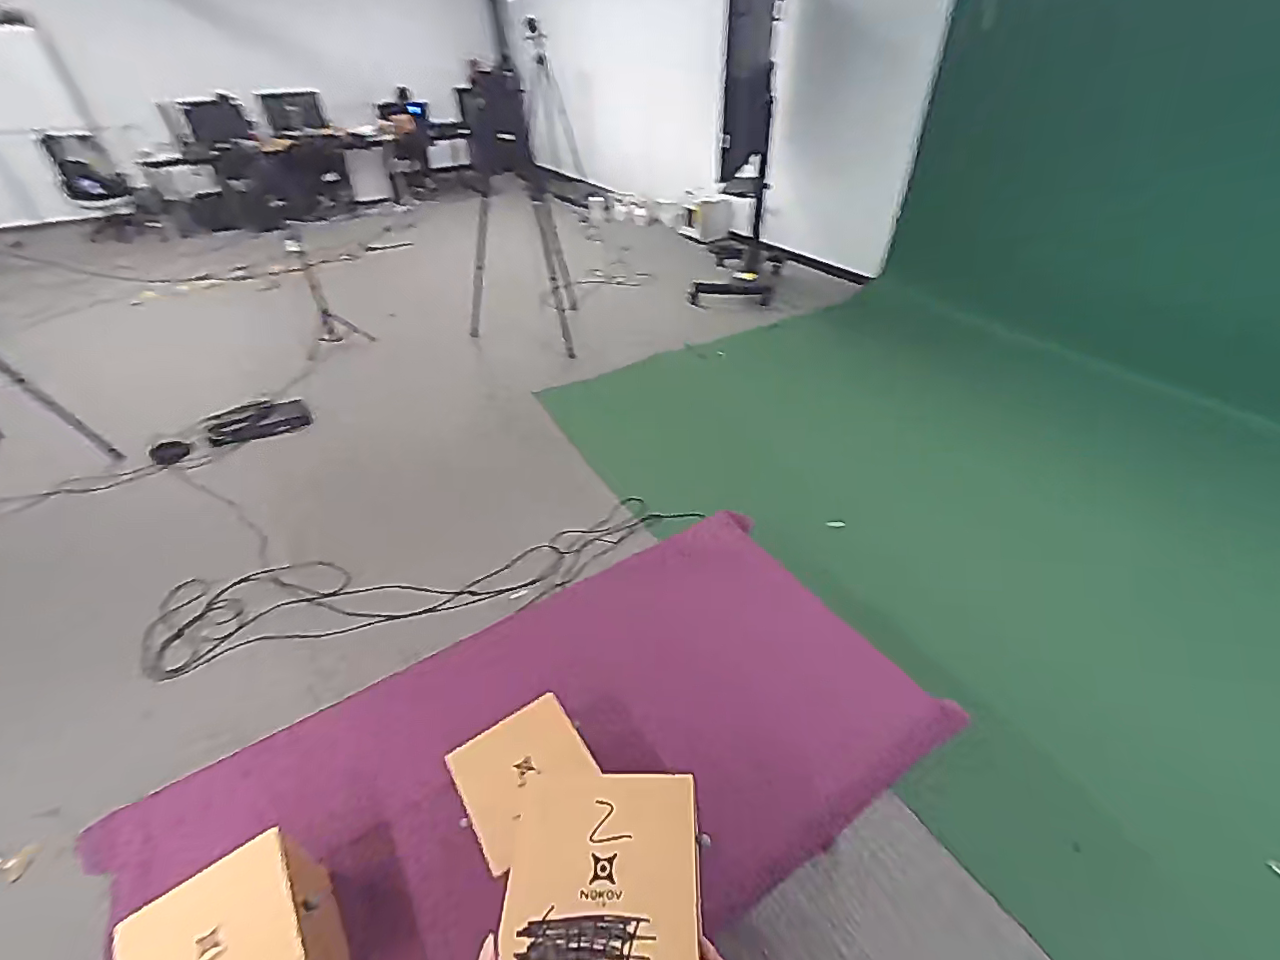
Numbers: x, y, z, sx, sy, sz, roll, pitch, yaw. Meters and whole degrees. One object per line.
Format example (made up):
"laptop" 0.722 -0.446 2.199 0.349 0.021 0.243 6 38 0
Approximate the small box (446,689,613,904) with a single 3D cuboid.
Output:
"small box" -0.153 0.447 0.769 0.168 0.176 0.179 -25 45 -25

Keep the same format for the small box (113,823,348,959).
"small box" -0.470 0.564 0.638 0.168 0.176 0.179 -27 47 -28
